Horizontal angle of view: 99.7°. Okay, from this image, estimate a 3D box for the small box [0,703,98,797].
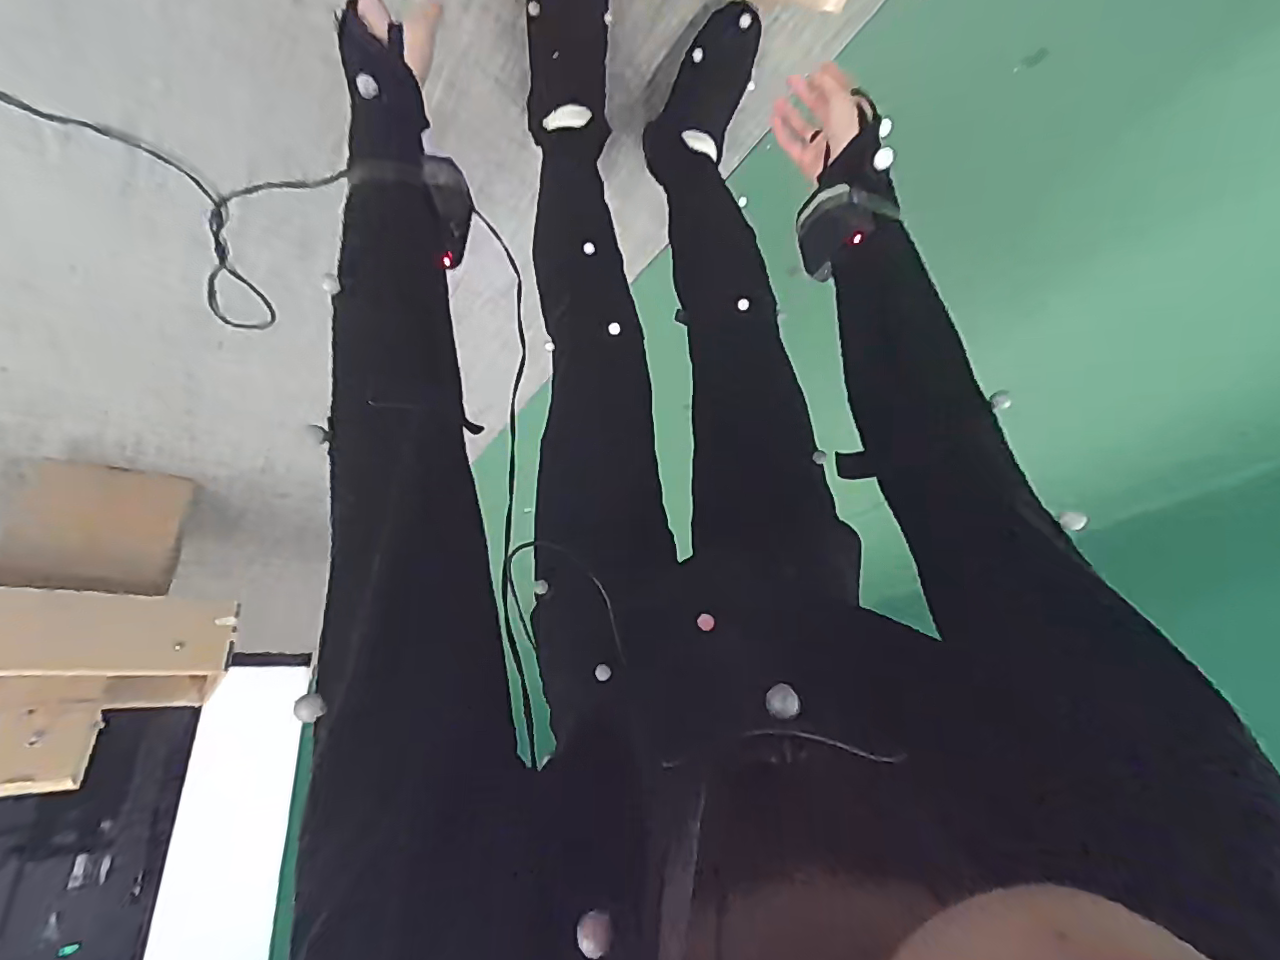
[{"bbox_3d":[-1.366,0.604,1.219,0.168,0.176,0.179,14,142,-35],"label":"small box"}]
